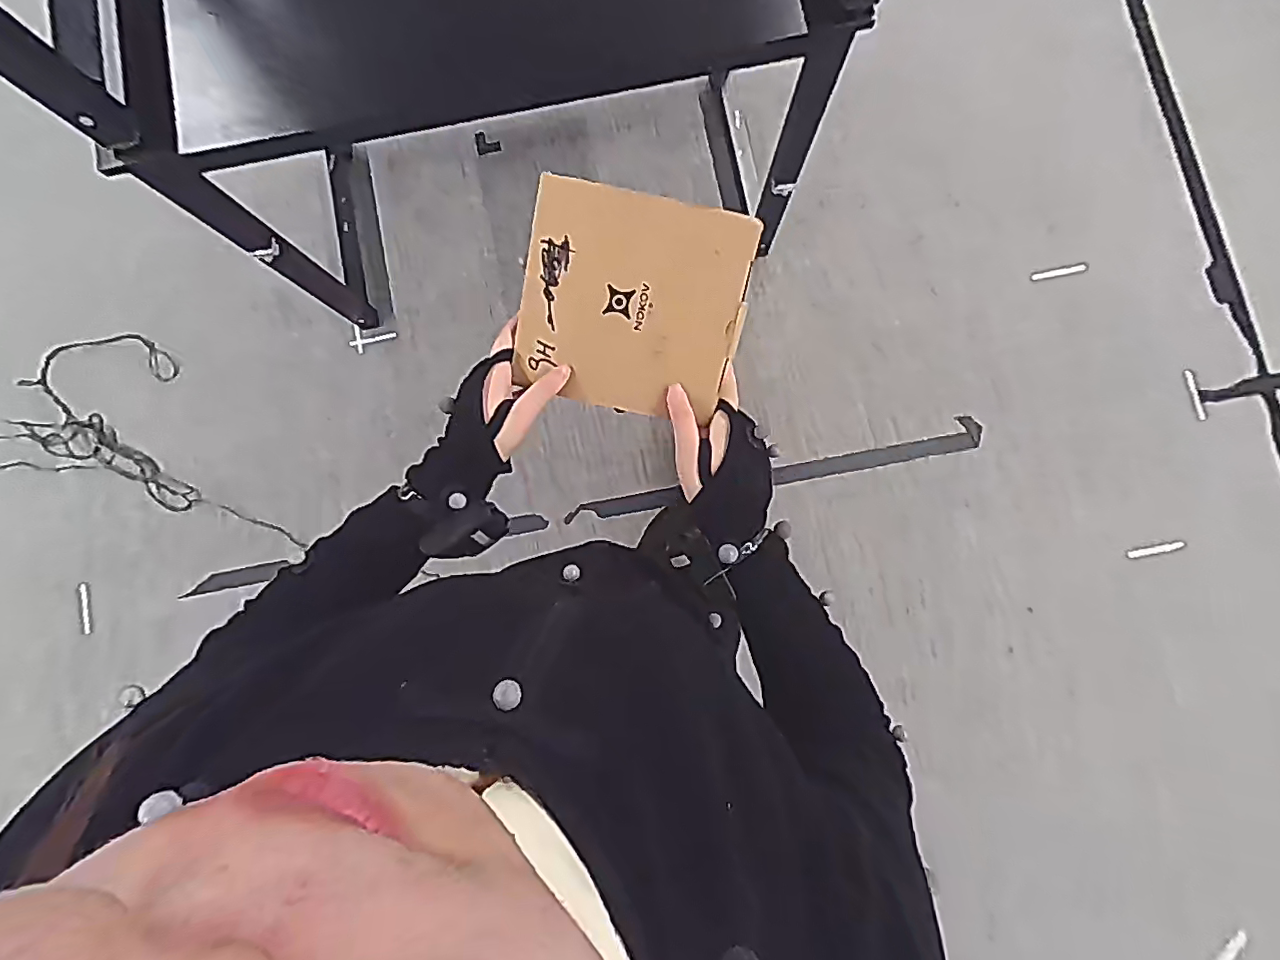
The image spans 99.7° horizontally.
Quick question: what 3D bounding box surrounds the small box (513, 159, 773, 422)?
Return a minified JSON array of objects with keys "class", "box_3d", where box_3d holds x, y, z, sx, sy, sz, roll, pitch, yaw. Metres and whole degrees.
[{"class":"small box","box_3d":[0.002,-0.161,0.497,0.179,0.176,0.168,13,103,0]}]
